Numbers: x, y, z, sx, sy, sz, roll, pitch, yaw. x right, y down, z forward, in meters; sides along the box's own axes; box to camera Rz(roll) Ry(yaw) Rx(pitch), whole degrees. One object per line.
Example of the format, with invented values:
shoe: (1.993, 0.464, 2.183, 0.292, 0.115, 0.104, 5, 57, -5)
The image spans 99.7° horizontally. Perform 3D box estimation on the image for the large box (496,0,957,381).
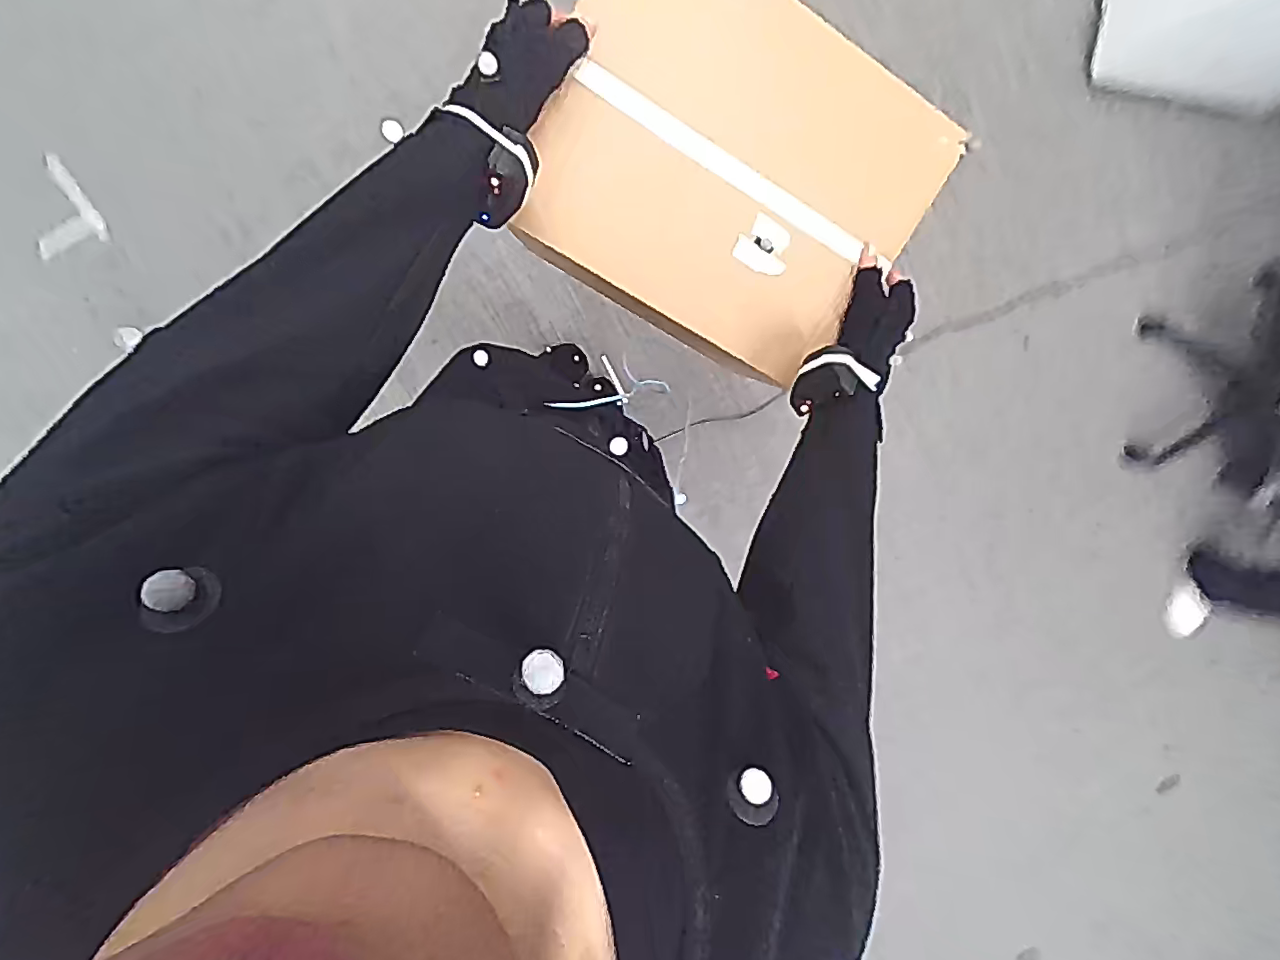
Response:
large box: (0.079, -0.370, 0.704, 0.408, 0.320, 0.320, 26, 104, -12)
